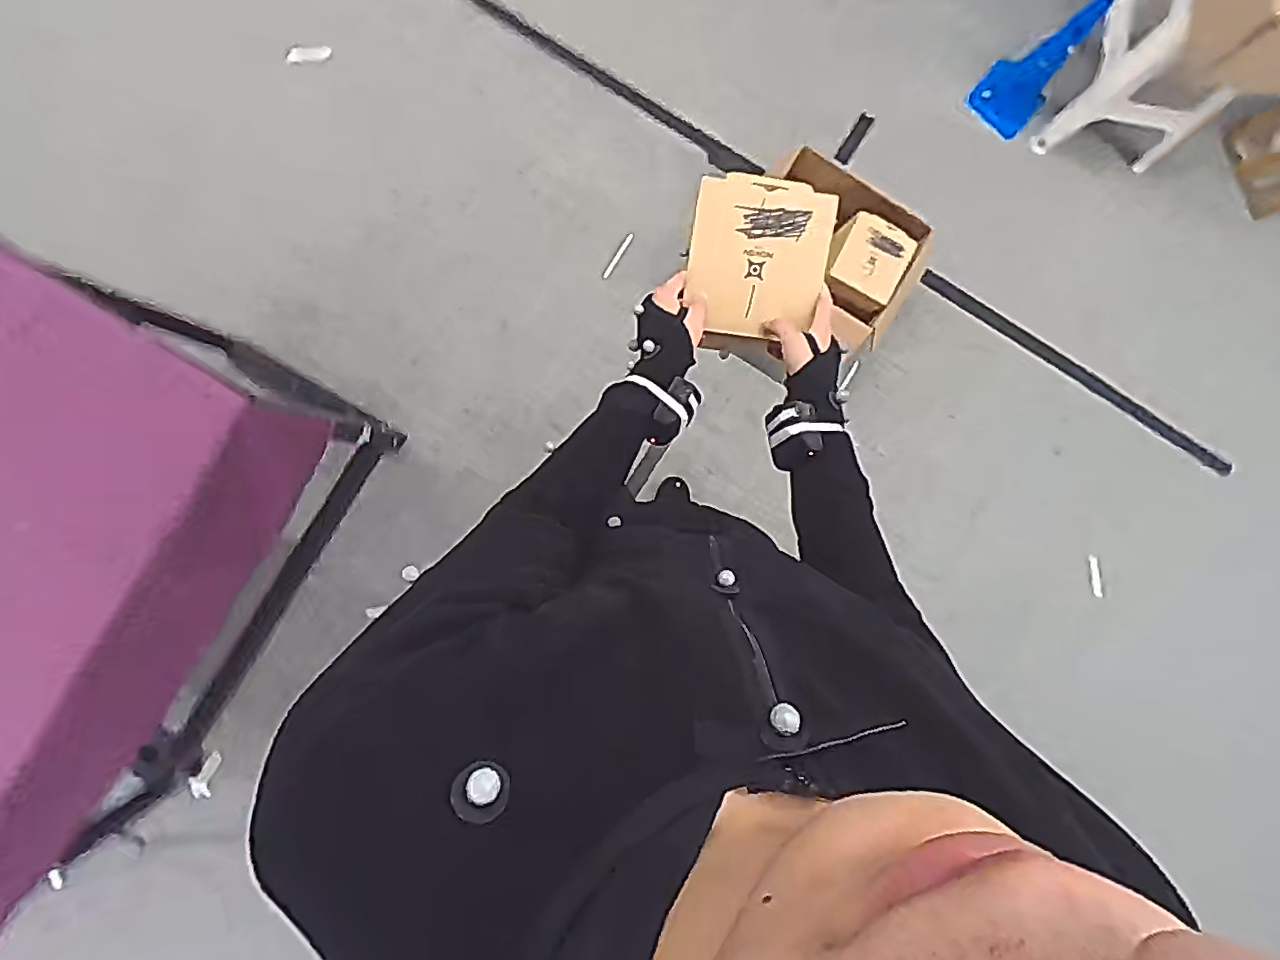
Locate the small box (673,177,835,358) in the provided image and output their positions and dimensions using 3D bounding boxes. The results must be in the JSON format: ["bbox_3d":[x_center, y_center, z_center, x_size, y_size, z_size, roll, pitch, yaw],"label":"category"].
[{"bbox_3d":[0.138,-0.268,0.721,0.168,0.176,0.179,7,98,-1],"label":"small box"}]
